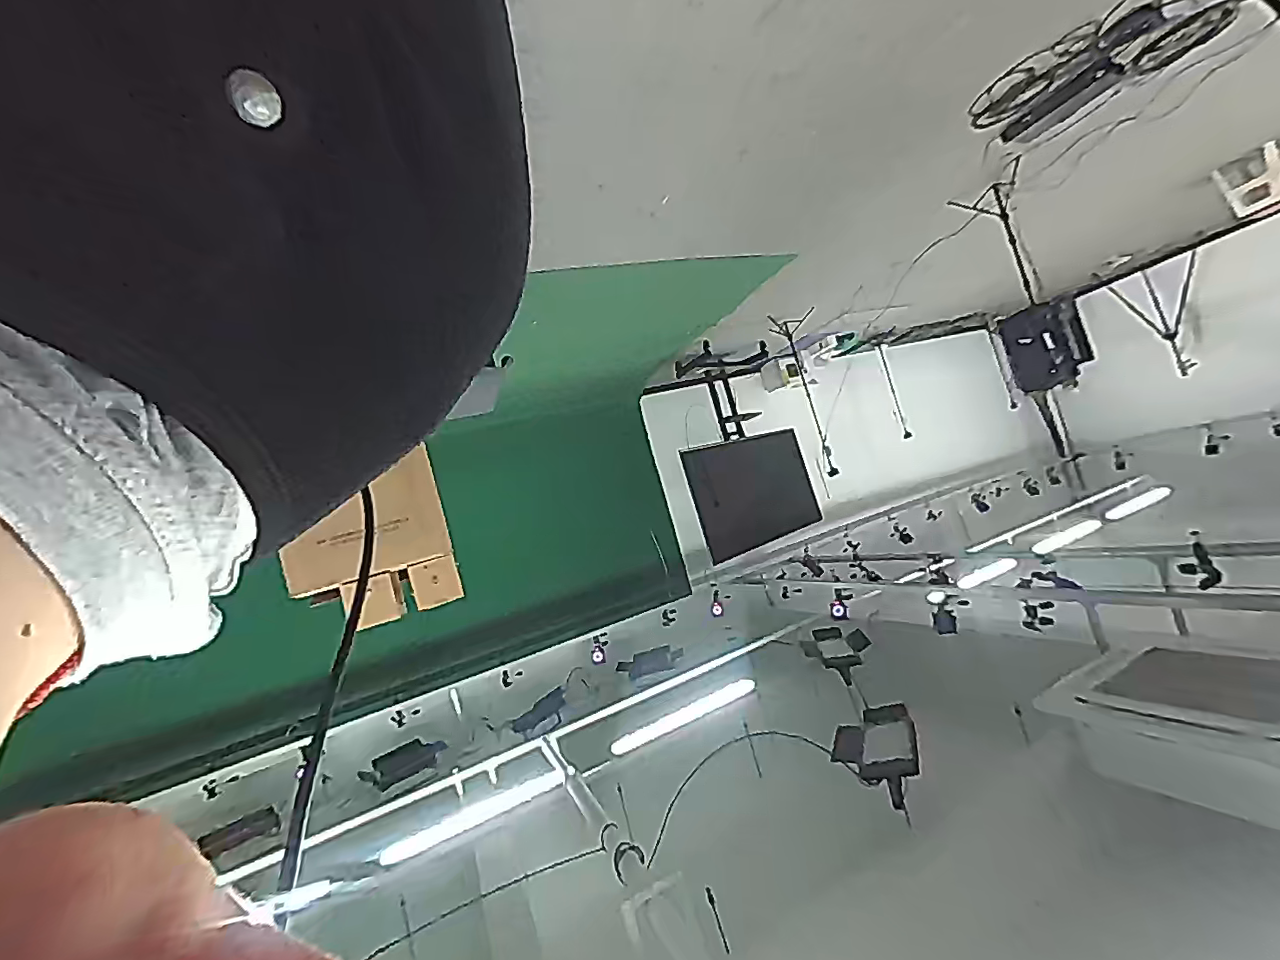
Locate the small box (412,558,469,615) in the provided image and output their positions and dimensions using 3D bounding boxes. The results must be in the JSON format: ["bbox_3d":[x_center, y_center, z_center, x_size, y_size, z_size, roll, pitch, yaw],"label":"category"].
[{"bbox_3d":[-0.761,0.401,2.056,0.168,0.176,0.179,-17,177,-22],"label":"small box"}]

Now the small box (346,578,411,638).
[{"bbox_3d":[-0.948,0.458,1.968,0.168,0.176,0.179,-16,175,-17],"label":"small box"}]
